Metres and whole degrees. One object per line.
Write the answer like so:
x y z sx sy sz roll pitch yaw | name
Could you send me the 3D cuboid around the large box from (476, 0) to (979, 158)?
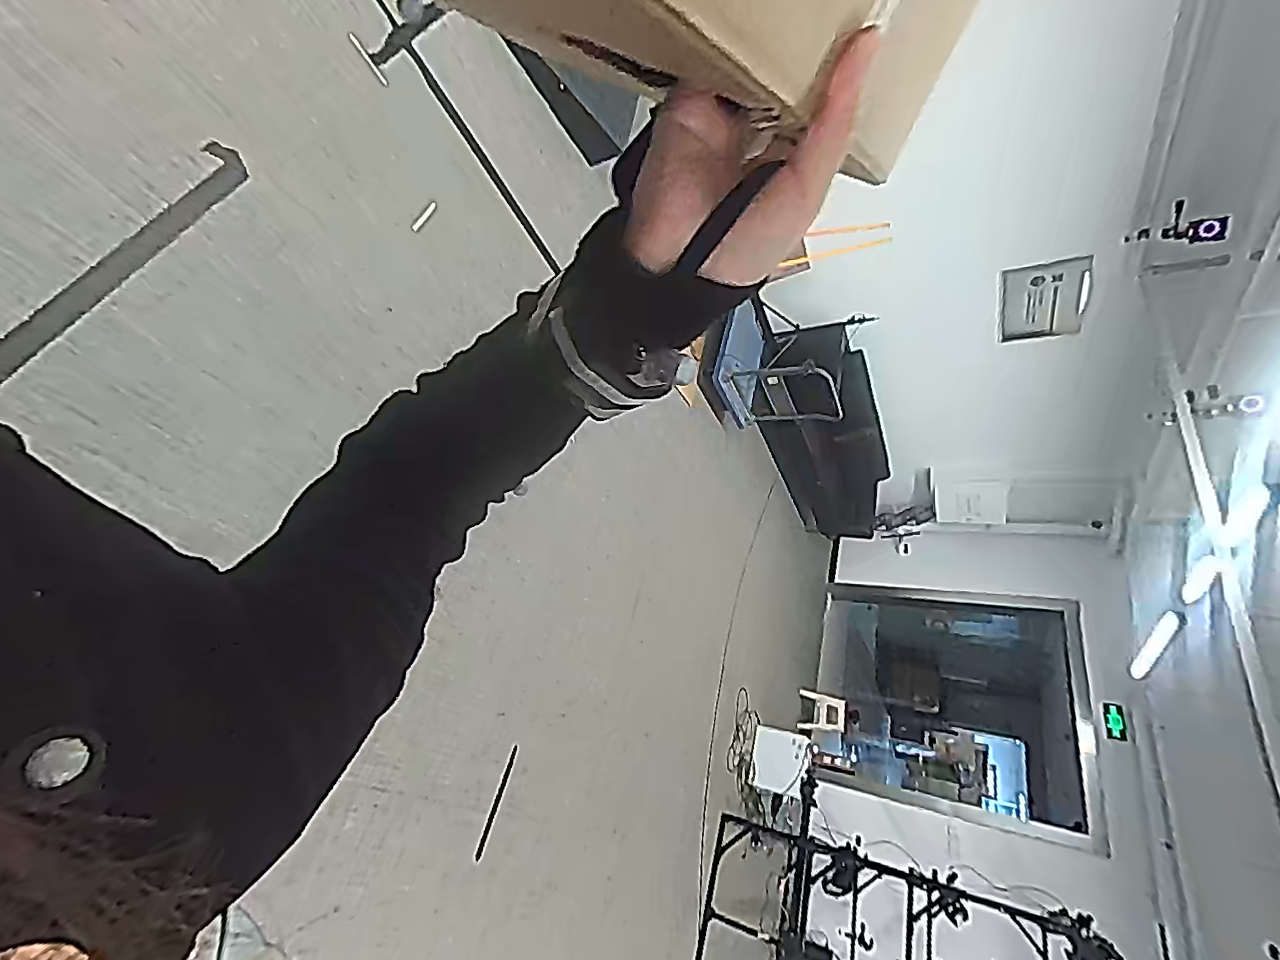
0.016 -0.378 0.151 0.320 0.320 0.408 -31 149 -53 | large box
